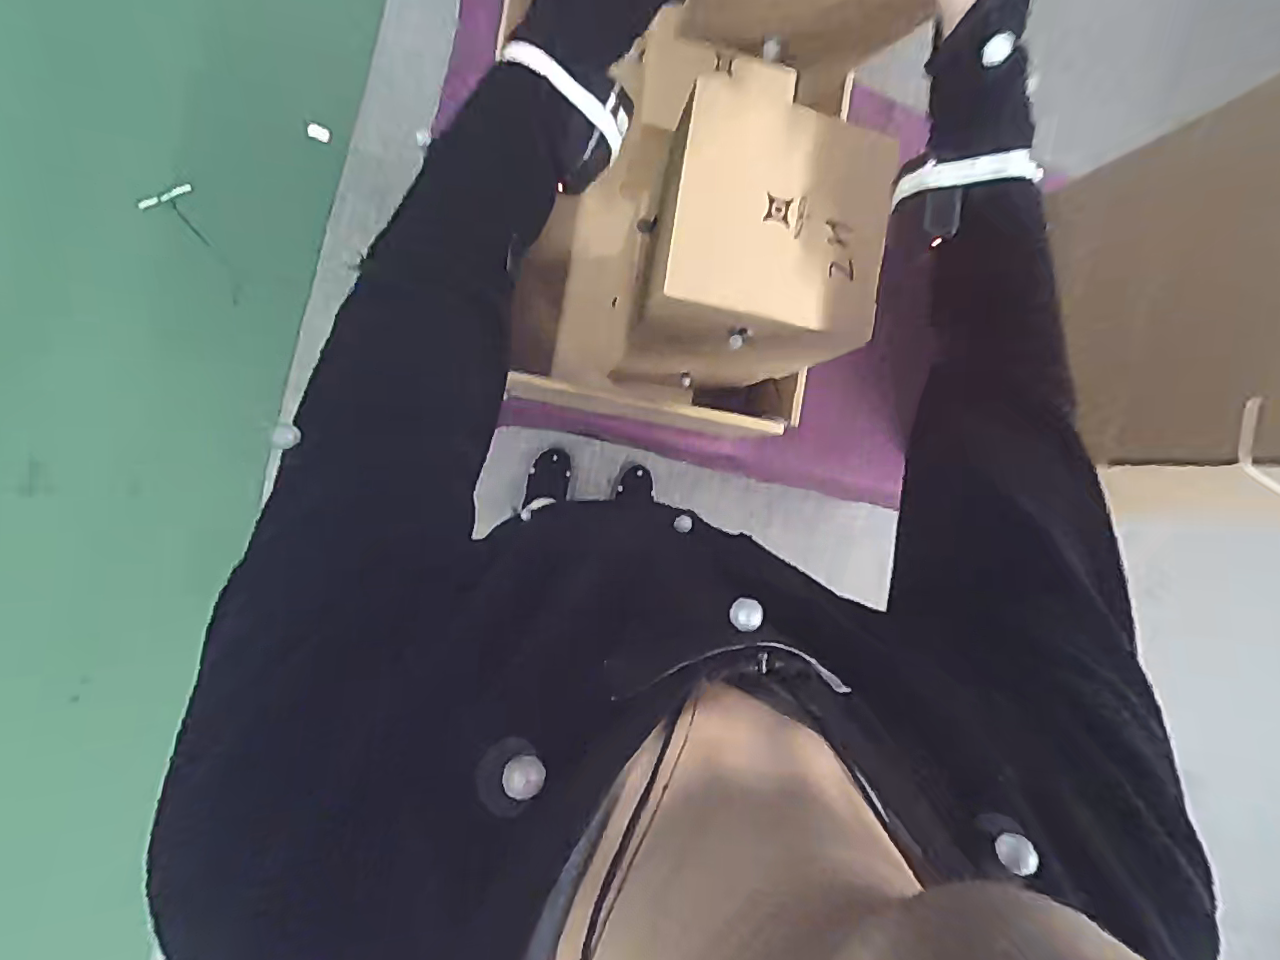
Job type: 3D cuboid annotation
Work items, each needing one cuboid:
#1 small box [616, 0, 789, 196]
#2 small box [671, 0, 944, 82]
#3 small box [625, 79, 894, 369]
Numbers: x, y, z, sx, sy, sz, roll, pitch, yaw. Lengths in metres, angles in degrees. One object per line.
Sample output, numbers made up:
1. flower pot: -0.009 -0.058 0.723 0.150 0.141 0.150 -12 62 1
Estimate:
1. small box: 0.068 -0.452 0.652 0.168 0.176 0.179 6 91 -11
2. small box: 0.130 -0.444 0.403 0.168 0.176 0.179 5 108 -14
3. small box: 0.091 -0.207 0.494 0.179 0.176 0.168 10 90 -11
